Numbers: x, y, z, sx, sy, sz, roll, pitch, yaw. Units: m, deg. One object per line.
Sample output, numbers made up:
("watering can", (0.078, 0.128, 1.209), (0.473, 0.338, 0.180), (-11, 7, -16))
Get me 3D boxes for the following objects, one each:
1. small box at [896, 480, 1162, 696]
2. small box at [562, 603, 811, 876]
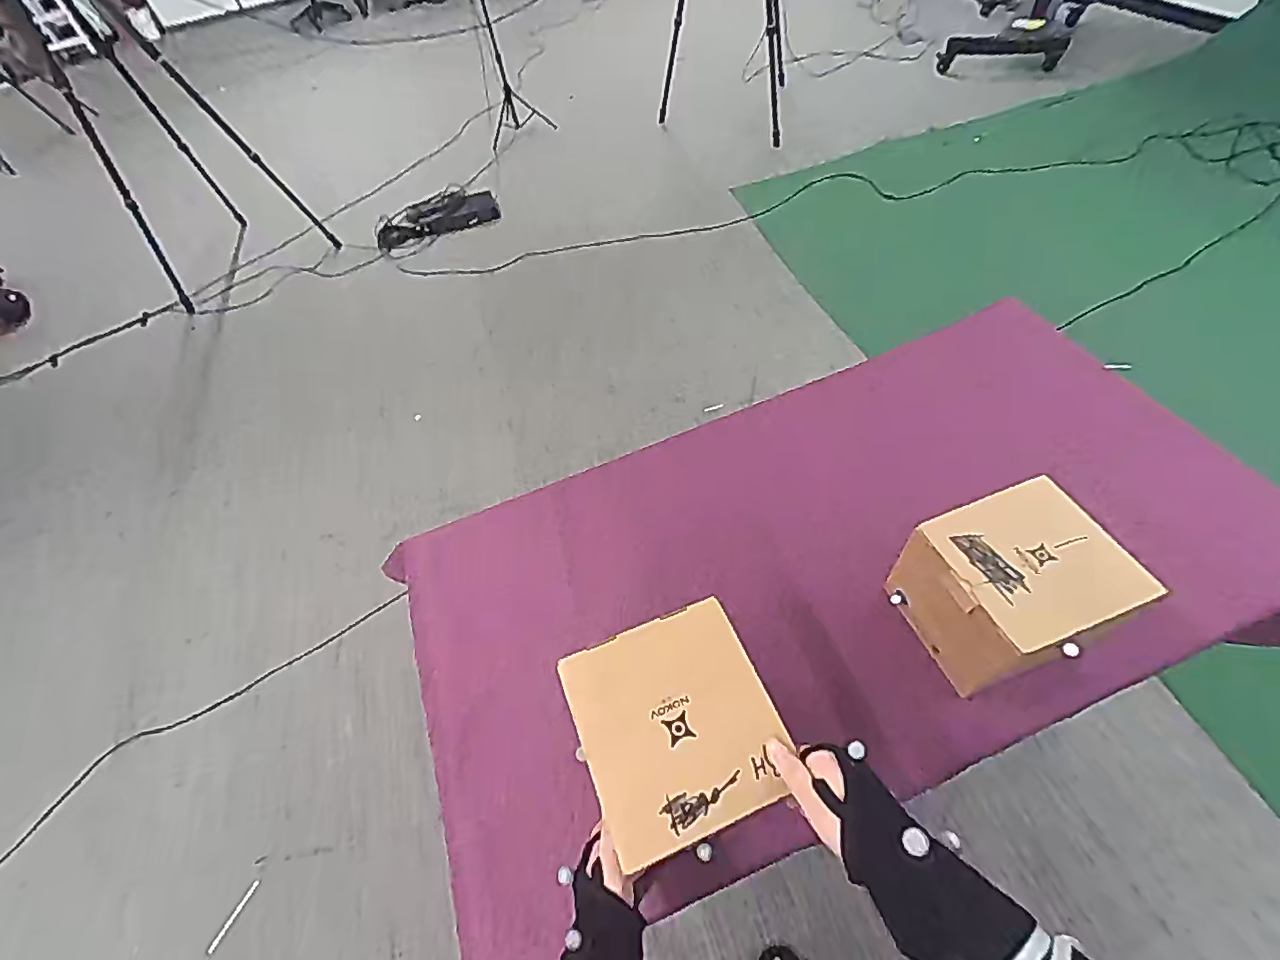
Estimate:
("small box", (0.434, 0.135, 0.648), (0.179, 0.176, 0.168), (-20, 54, -6))
("small box", (0.036, 0.253, 0.529), (0.168, 0.176, 0.179), (-20, 57, -9))
